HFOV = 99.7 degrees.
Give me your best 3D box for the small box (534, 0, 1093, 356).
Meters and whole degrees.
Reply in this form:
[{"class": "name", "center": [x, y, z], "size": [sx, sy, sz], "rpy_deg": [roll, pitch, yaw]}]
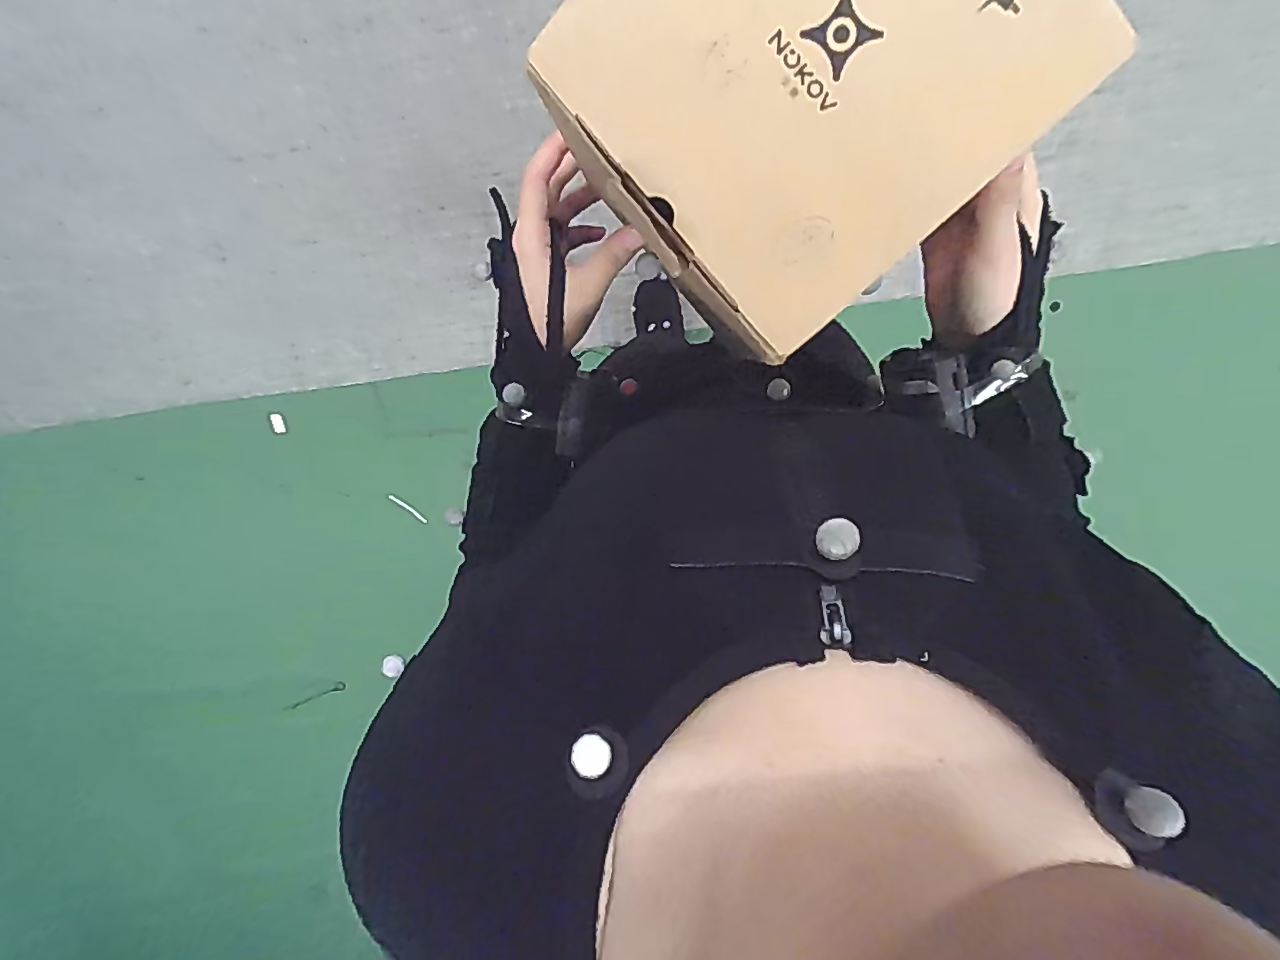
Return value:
[{"class": "small box", "center": [0.075, -0.187, 0.305], "size": [0.179, 0.176, 0.168], "rpy_deg": [-41, 97, 11]}]
